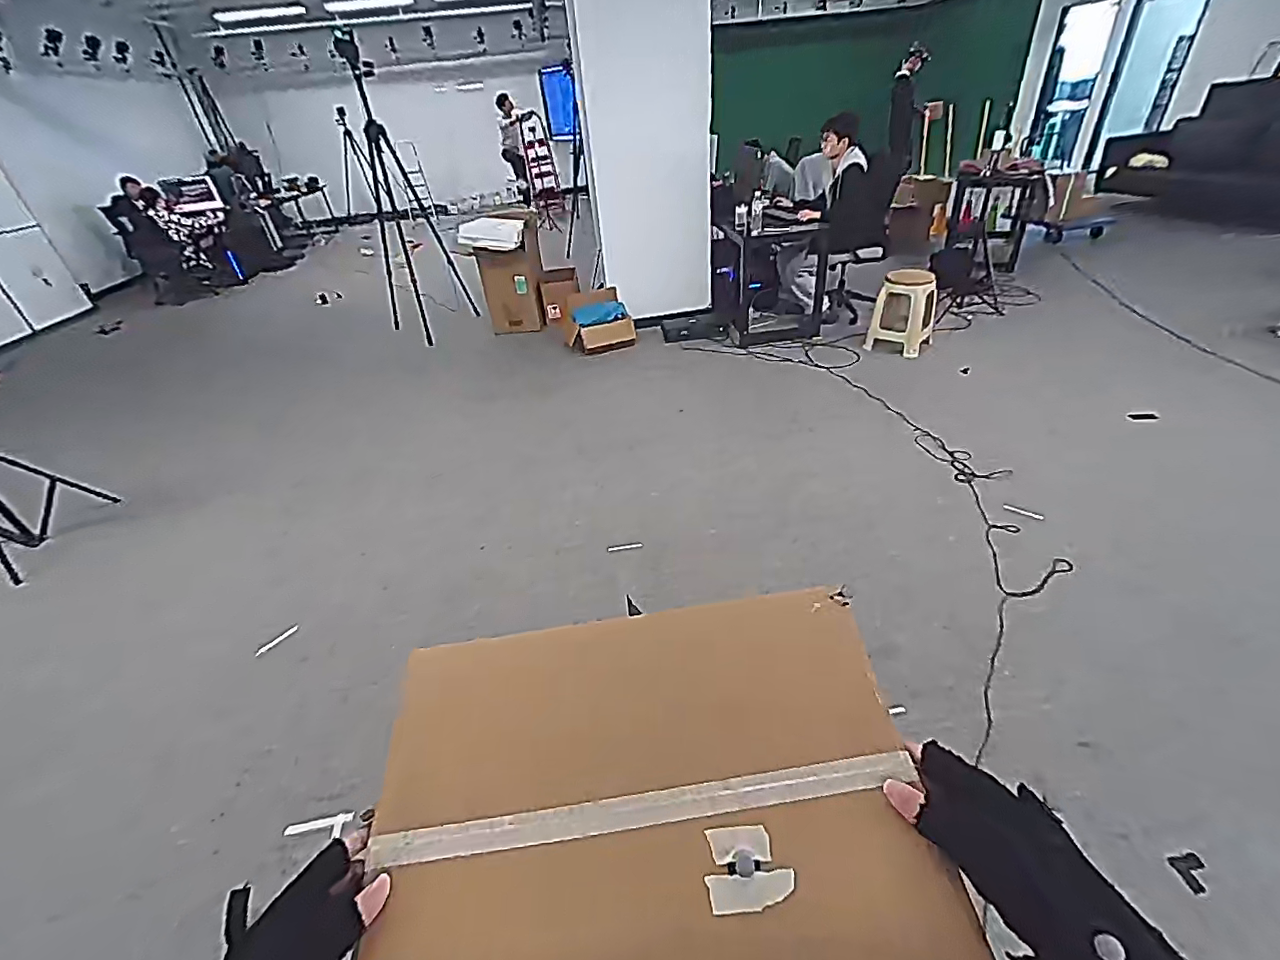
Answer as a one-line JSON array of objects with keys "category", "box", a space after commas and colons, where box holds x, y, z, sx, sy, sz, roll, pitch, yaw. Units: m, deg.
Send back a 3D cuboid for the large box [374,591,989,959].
[{"category": "large box", "box": [0.020, 0.349, 0.521, 0.408, 0.320, 0.320, -9, 48, -1]}]
